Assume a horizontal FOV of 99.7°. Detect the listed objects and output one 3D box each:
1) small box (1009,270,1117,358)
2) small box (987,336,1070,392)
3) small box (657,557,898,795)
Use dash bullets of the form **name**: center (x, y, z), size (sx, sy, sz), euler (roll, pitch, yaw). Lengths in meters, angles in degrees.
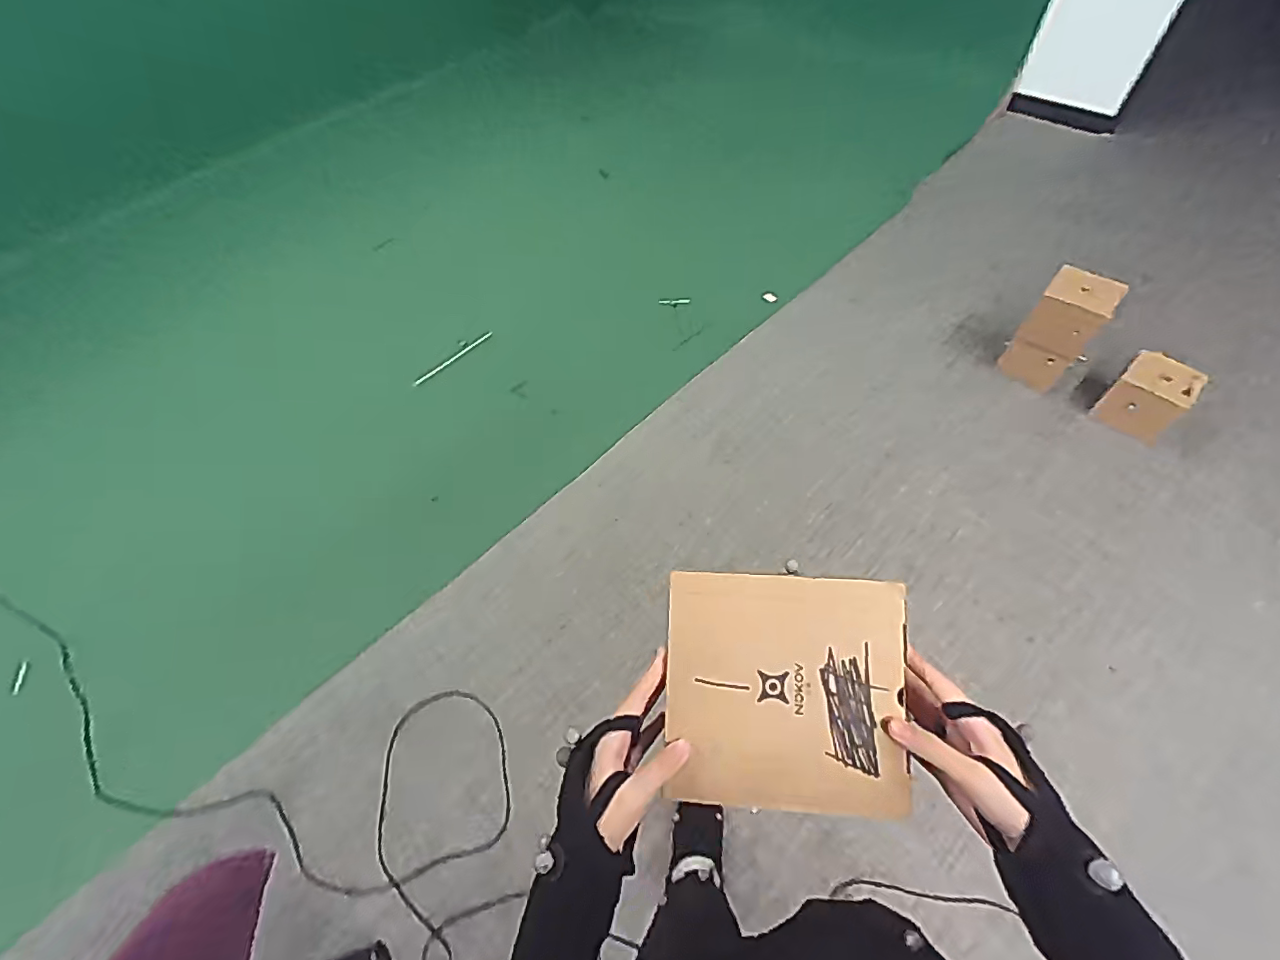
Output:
- **small box**: center (1.278, -0.499, 1.644), size (0.179, 0.176, 0.168), euler (35, 67, 26)
- **small box**: center (1.300, -0.419, 1.785), size (0.179, 0.176, 0.168), euler (35, 67, 26)
- **small box**: center (0.112, 0.157, 0.488), size (0.179, 0.176, 0.168), euler (2, 80, 7)
